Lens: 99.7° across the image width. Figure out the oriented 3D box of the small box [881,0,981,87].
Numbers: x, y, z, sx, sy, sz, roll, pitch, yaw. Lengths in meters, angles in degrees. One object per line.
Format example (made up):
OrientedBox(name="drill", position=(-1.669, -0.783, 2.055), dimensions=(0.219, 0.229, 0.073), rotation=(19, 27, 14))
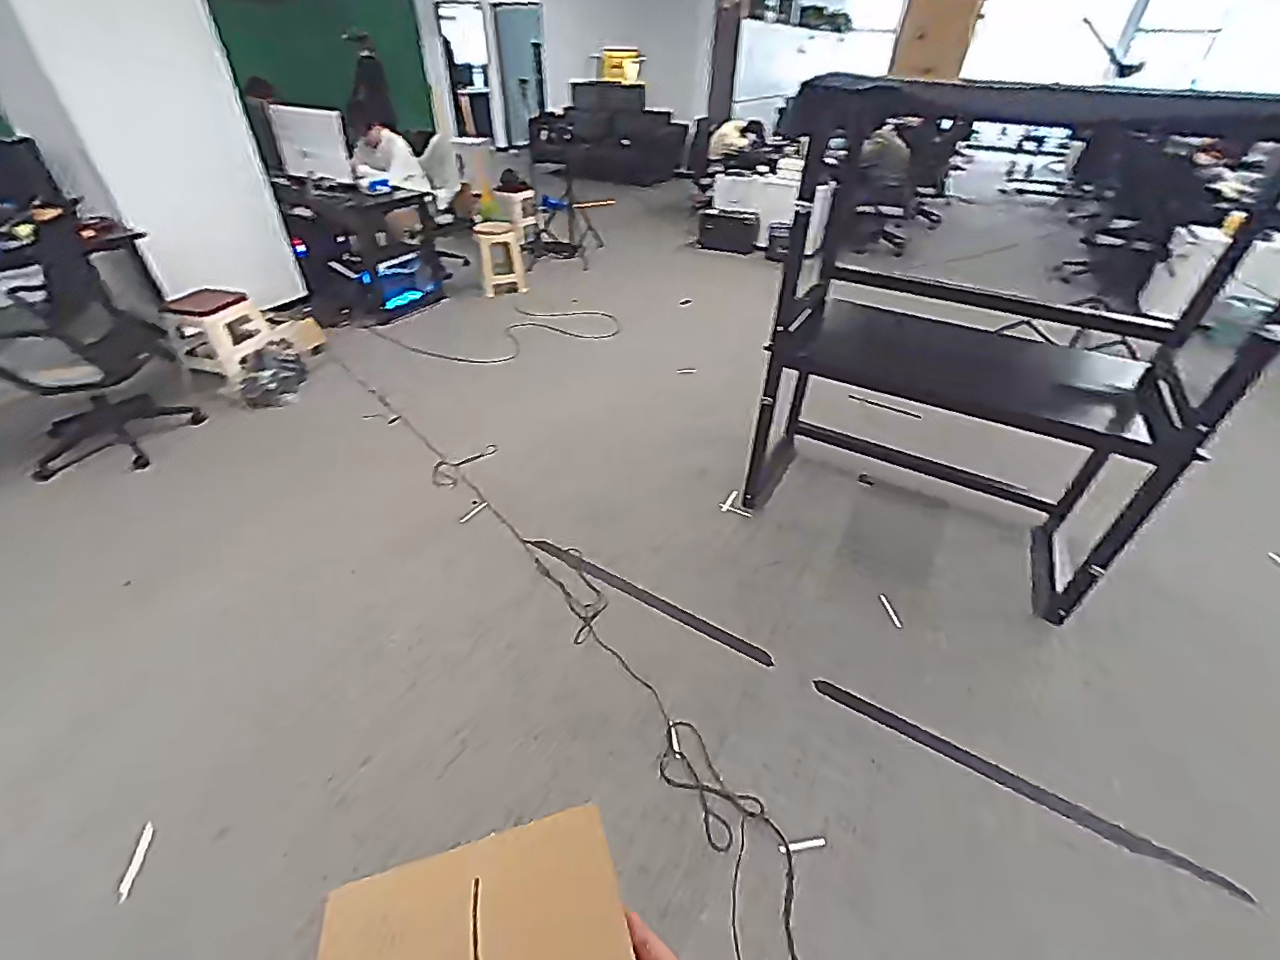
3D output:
OrientedBox(name="small box", position=(0.710, -1.074, 1.329), dimensions=(0.168, 0.176, 0.179), rotation=(21, 40, 22))
